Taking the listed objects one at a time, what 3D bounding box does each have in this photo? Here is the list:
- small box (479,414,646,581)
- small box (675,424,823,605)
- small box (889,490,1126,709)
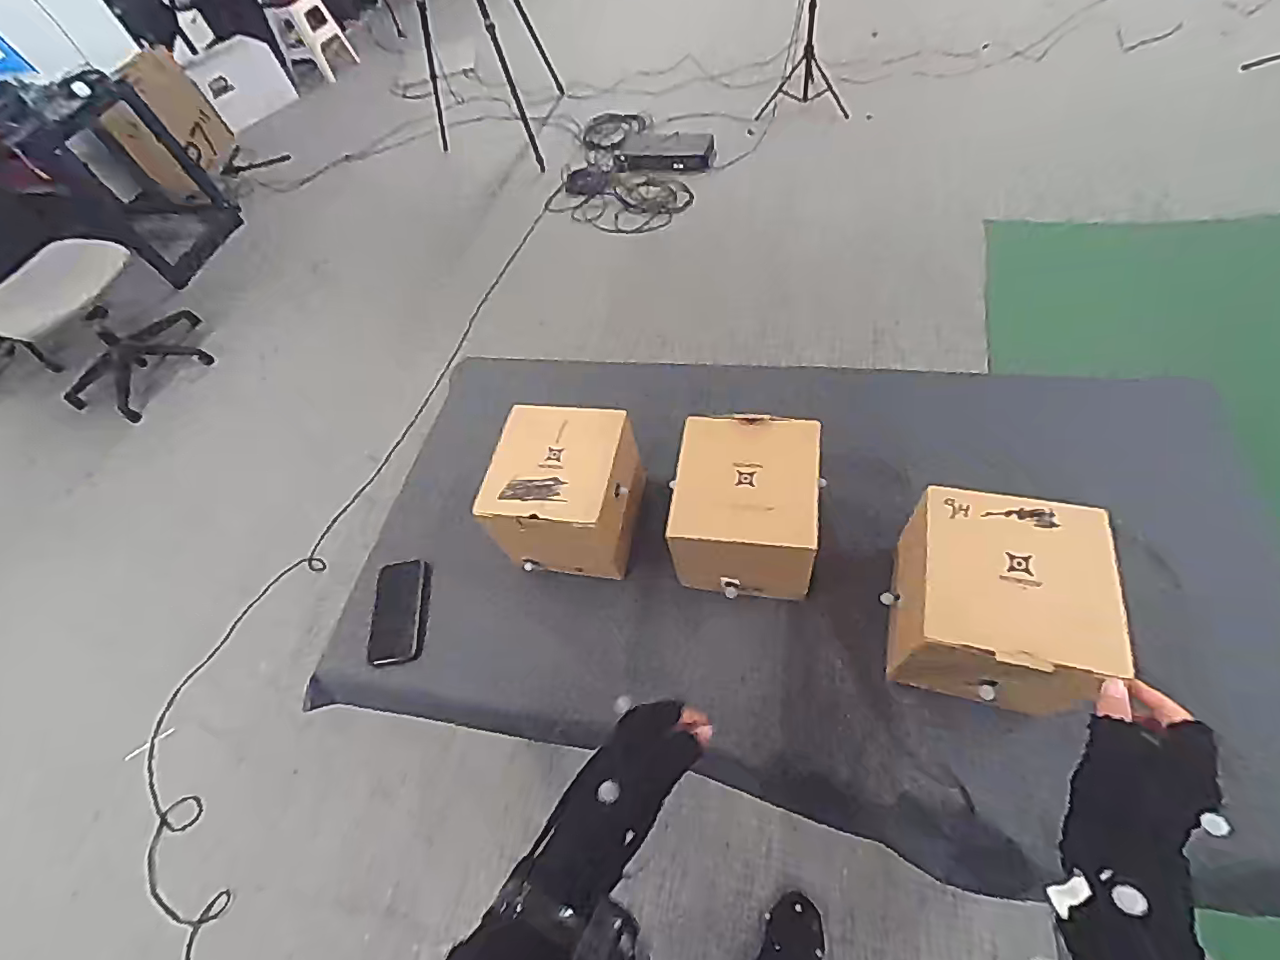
[{"bbox_3d":[-0.094,0.028,0.764,0.168,0.176,0.179,4,57,14],"label":"small box"},{"bbox_3d":[0.145,0.047,0.710,0.168,0.176,0.179,2,60,14],"label":"small box"},{"bbox_3d":[0.384,0.137,0.599,0.168,0.176,0.179,9,60,16],"label":"small box"}]
